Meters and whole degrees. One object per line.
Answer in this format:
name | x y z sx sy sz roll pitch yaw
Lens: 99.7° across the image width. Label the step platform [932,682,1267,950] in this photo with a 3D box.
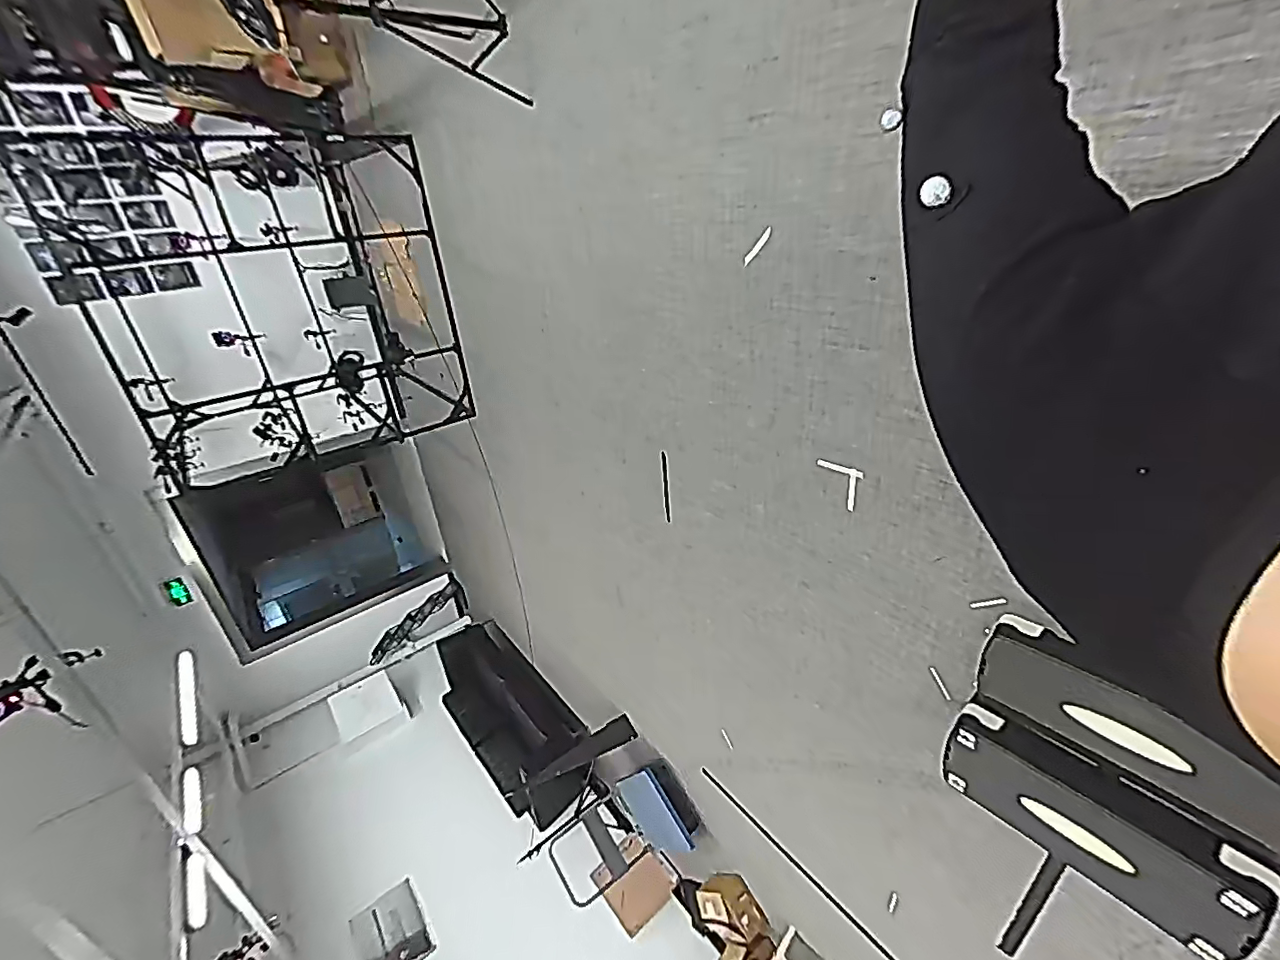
step platform | 1.190 0.881 1.493 0.684 0.204 0.286 26 130 48
